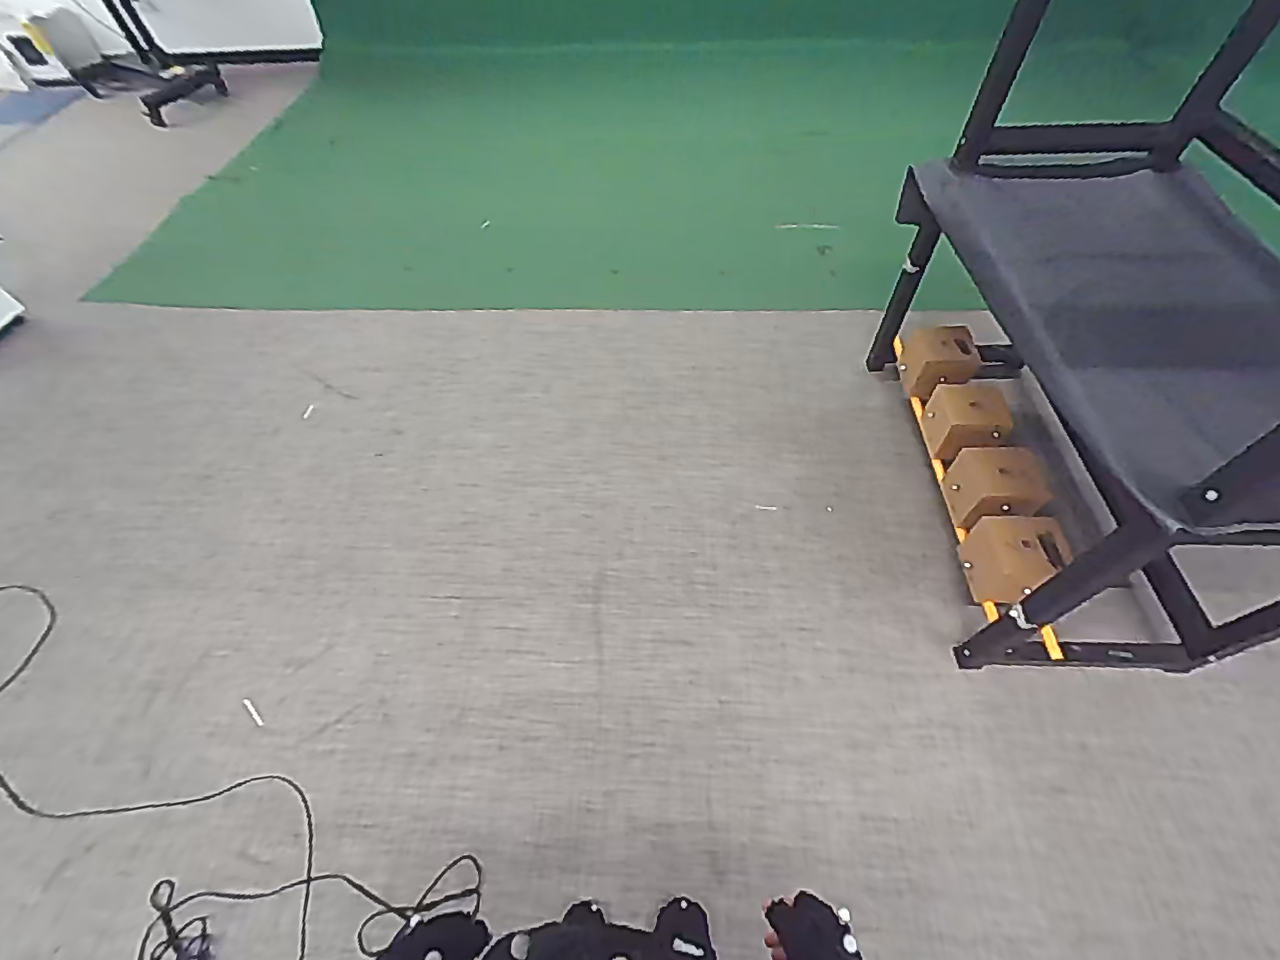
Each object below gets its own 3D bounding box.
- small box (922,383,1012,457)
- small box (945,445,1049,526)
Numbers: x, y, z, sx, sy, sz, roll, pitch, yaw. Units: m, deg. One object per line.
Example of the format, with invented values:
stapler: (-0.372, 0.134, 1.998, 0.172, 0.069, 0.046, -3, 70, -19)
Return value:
small box: (0.990, -0.181, 1.660, 0.179, 0.176, 0.168, 1, 56, 4)
small box: (0.985, 0.019, 1.516, 0.179, 0.176, 0.168, 0, 55, 4)
